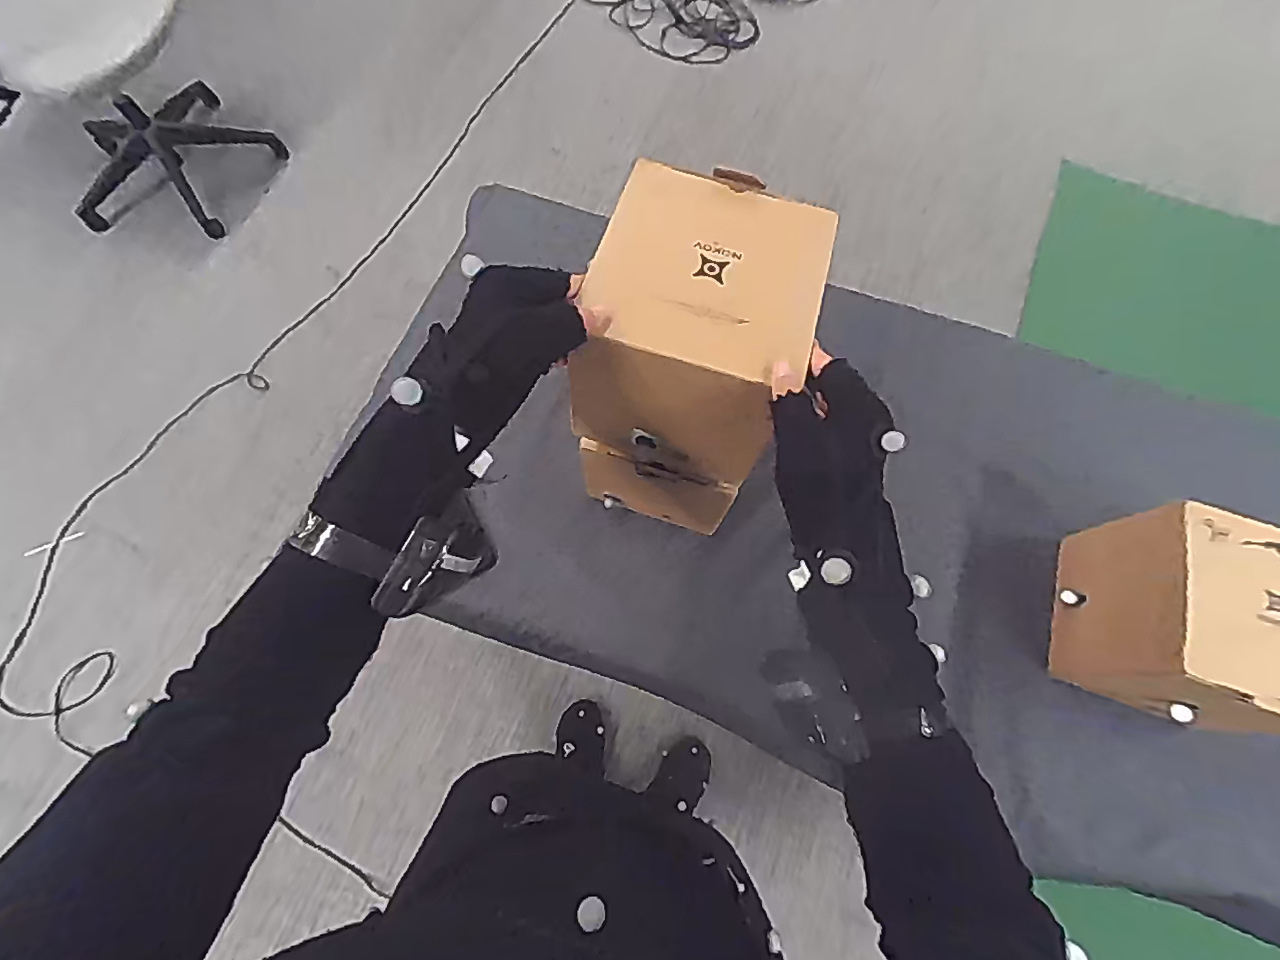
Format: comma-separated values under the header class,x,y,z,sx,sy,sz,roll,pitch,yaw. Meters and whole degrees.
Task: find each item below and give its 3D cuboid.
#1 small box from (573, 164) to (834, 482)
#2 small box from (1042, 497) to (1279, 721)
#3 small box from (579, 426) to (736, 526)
class,x,y,z,sx,sy,sz,roll,pitch,yaw
small box,0.047,-0.123,0.470,0.168,0.176,0.179,16,68,2
small box,0.577,0.145,0.582,0.168,0.176,0.179,19,72,5
small box,0.040,-0.063,0.637,0.168,0.176,0.179,17,70,4
